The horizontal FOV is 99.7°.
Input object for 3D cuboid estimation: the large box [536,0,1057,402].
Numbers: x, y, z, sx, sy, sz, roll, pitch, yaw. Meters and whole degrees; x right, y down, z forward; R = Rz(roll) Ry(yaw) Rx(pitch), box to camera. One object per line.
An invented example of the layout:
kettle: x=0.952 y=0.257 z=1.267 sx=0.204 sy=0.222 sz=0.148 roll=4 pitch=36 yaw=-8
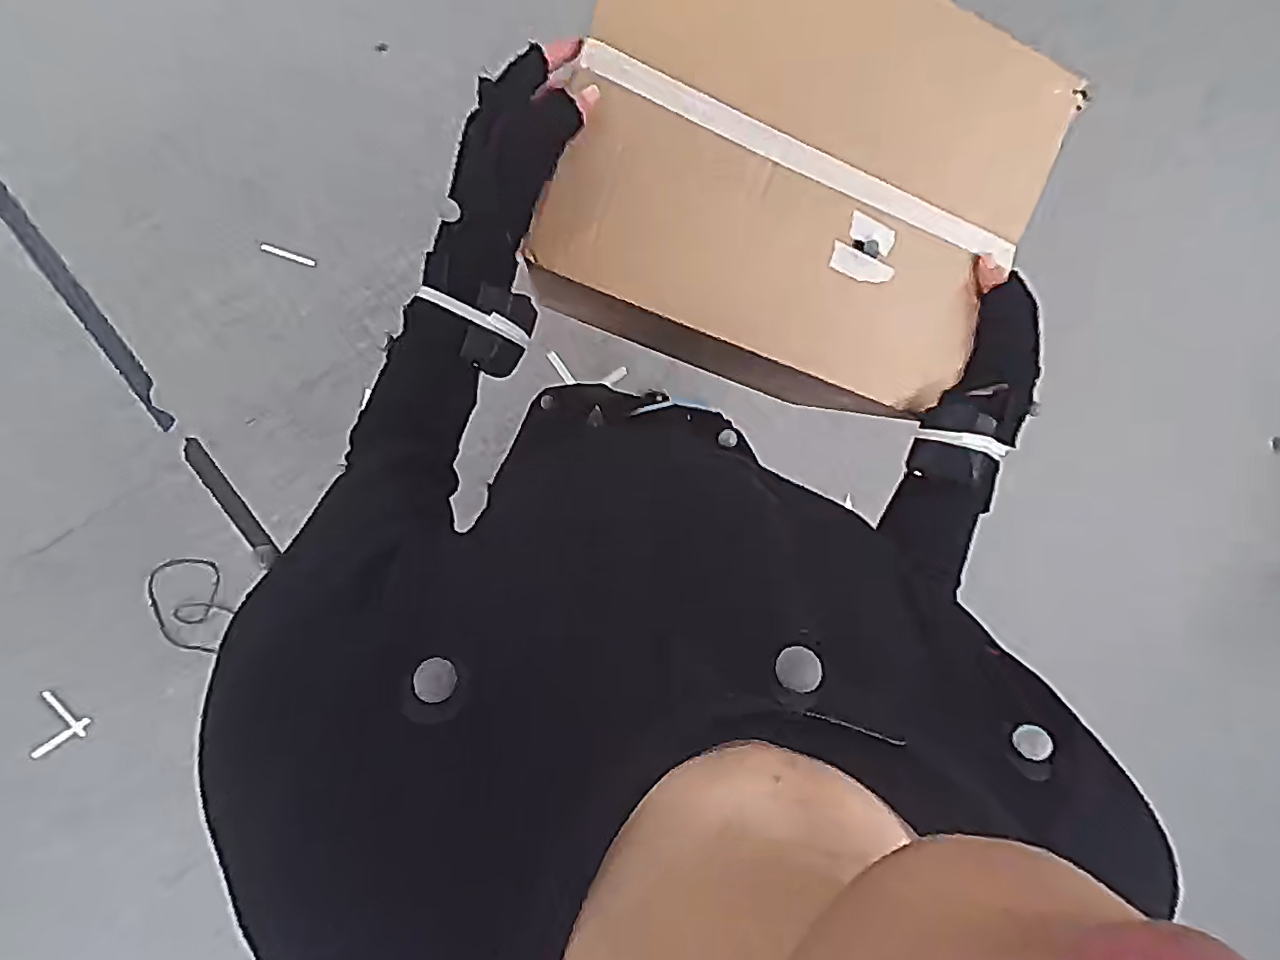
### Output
large box: x=0.118 y=-0.302 z=0.607 sx=0.408 sy=0.320 sz=0.320 roll=18 pitch=100 yaw=-13
